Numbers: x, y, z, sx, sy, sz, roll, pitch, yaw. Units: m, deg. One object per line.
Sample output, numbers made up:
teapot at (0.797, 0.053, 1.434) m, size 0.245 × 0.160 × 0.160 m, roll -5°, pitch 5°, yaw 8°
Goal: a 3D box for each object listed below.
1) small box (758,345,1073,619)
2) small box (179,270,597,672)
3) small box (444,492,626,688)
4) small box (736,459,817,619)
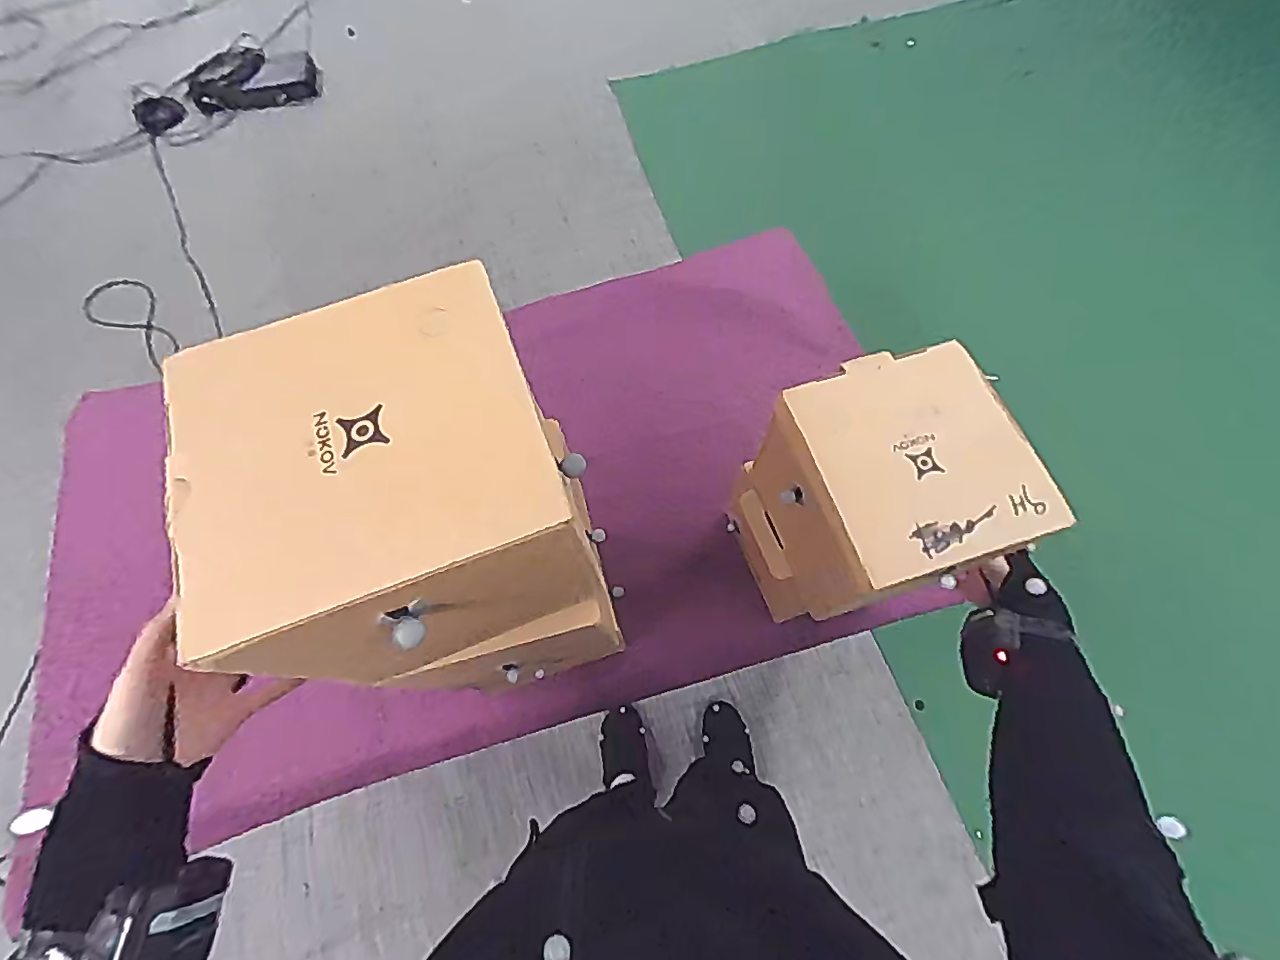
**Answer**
small box at (0.223, 0.011, 0.500) m, size 0.168 × 0.176 × 0.179 m, roll -17°, pitch 67°, yaw -4°
small box at (-0.133, 0.009, 0.342) m, size 0.179 × 0.176 × 0.168 m, roll -21°, pitch 68°, yaw -5°
small box at (-0.124, 0.139, 0.642) m, size 0.179 × 0.176 × 0.168 m, roll -17°, pitch 67°, yaw -5°
small box at (0.226, 0.058, 0.658) m, size 0.179 × 0.176 × 0.168 m, roll -19°, pitch 69°, yaw -5°
